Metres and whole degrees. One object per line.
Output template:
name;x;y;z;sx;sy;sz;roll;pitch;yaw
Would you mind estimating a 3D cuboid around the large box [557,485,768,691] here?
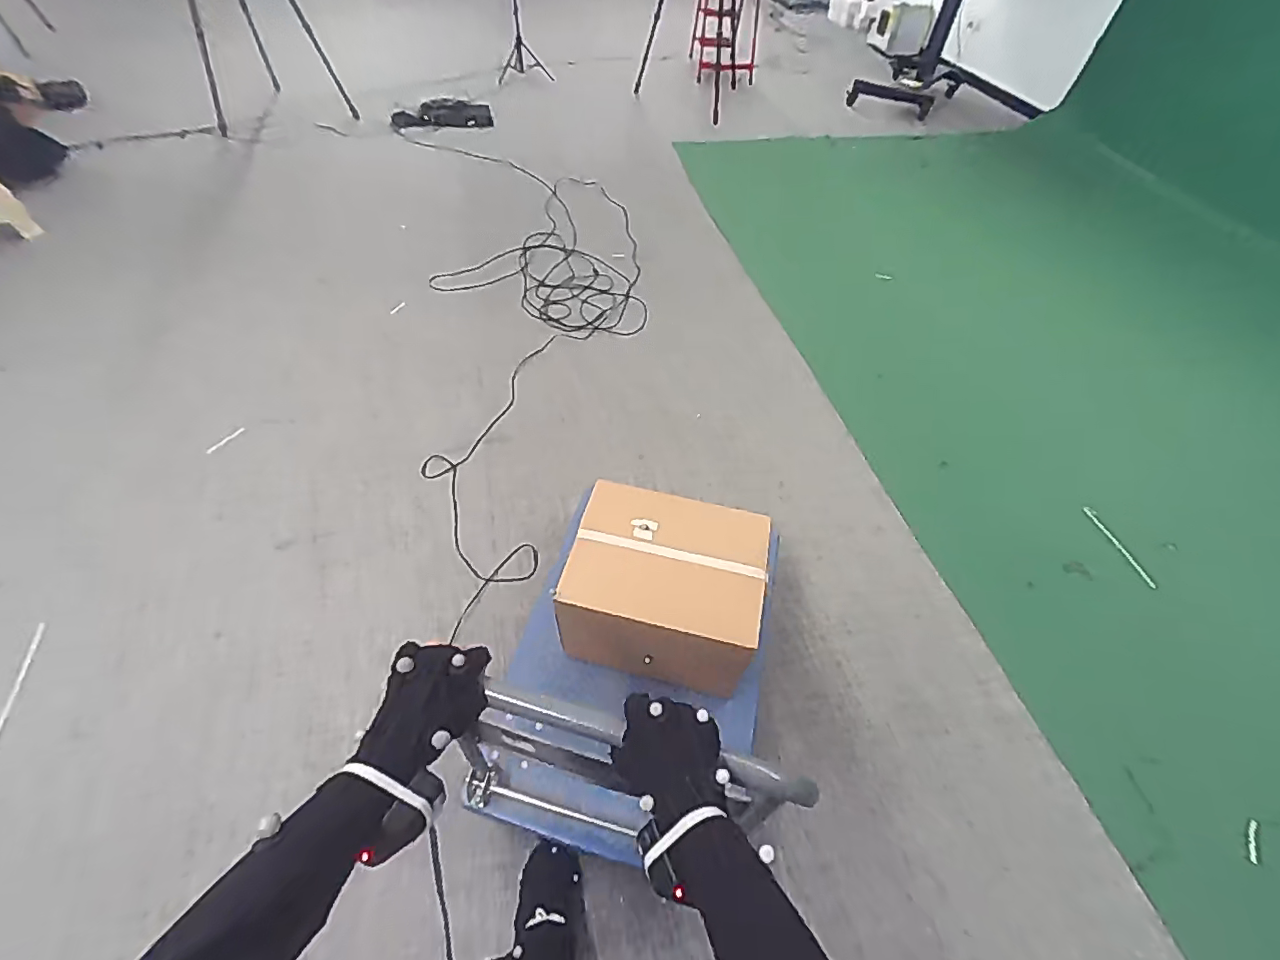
large box;0.059;0.254;1.252;0.408;0.320;0.320;12;52;7
